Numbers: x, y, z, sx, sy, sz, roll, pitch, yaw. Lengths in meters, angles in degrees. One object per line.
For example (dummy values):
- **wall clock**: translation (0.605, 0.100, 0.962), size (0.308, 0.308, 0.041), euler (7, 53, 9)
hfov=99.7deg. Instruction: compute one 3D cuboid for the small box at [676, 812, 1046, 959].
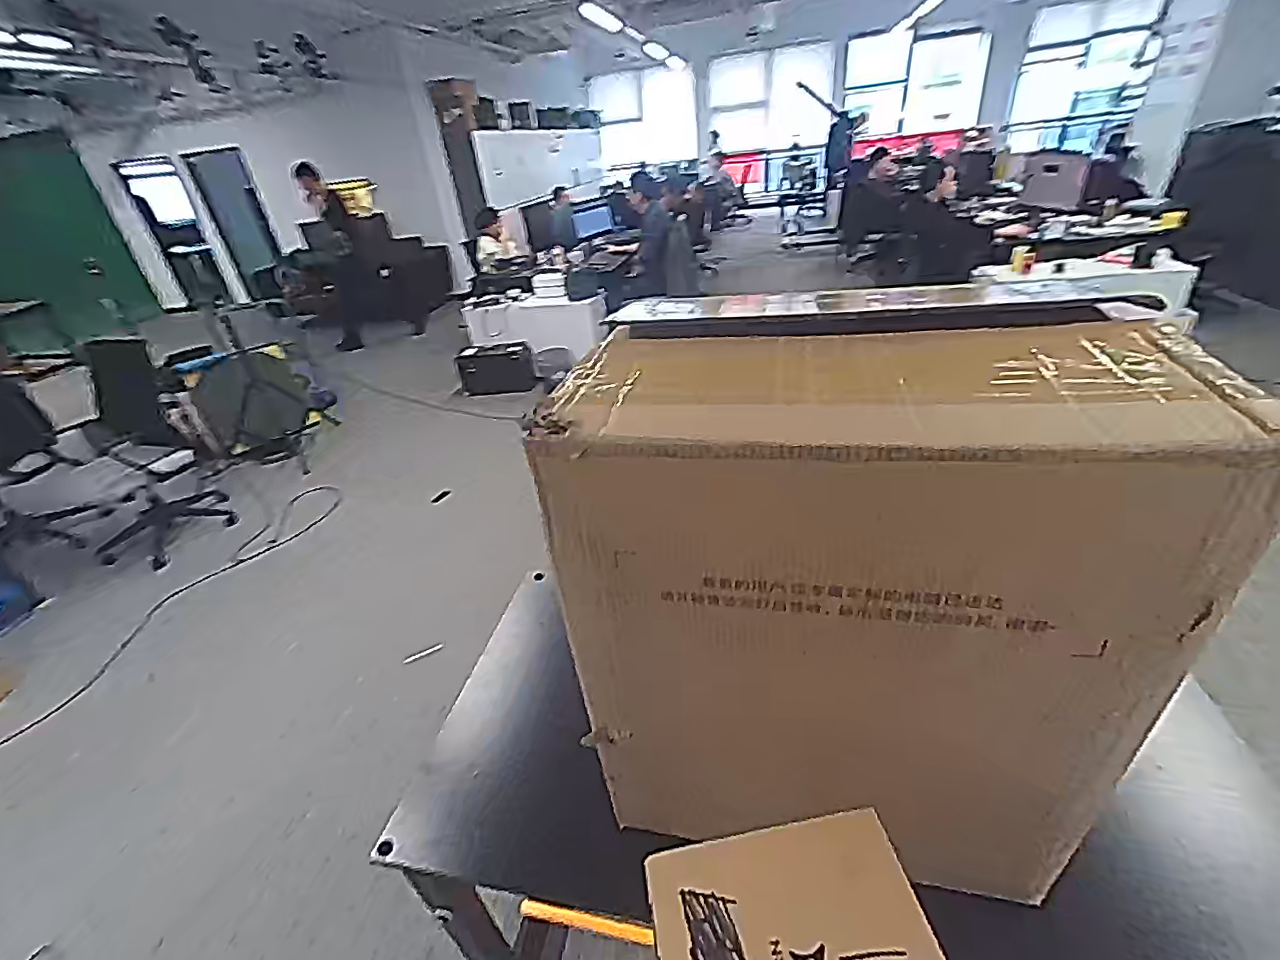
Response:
- **small box**: translation (0.128, 0.323, 0.292), size (0.179, 0.176, 0.168), euler (-12, 30, 0)
